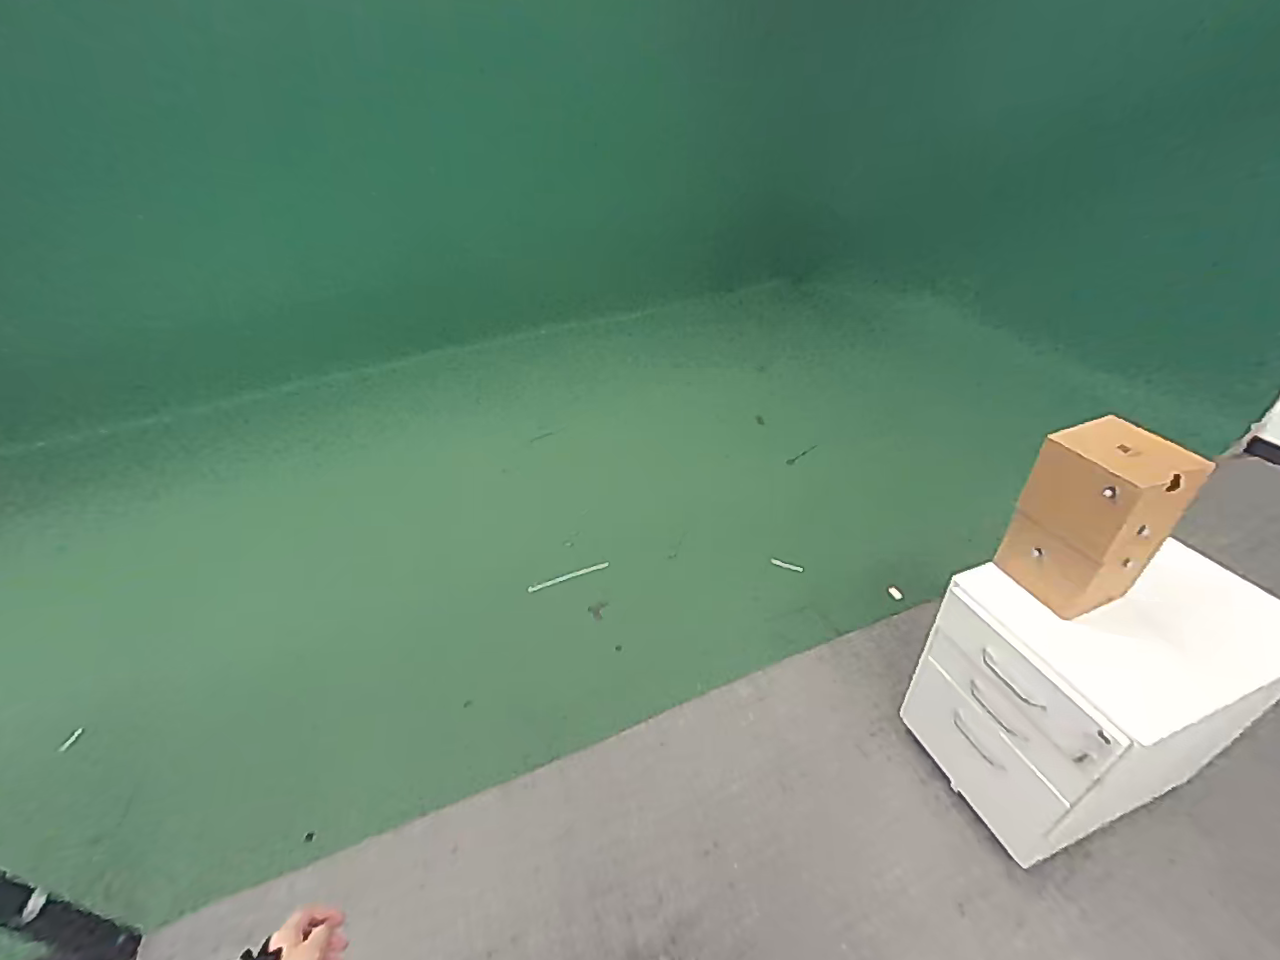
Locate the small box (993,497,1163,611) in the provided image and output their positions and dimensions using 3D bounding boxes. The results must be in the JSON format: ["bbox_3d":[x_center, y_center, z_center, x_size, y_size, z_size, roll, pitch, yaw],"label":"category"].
[{"bbox_3d":[0.855,0.126,1.080,0.168,0.176,0.179,-17,40,-13],"label":"small box"}]

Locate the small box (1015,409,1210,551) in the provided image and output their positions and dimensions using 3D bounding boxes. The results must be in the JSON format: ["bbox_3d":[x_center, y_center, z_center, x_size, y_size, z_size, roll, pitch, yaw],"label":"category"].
[{"bbox_3d":[0.836,-0.002,0.980,0.168,0.176,0.179,-16,41,-14],"label":"small box"}]
